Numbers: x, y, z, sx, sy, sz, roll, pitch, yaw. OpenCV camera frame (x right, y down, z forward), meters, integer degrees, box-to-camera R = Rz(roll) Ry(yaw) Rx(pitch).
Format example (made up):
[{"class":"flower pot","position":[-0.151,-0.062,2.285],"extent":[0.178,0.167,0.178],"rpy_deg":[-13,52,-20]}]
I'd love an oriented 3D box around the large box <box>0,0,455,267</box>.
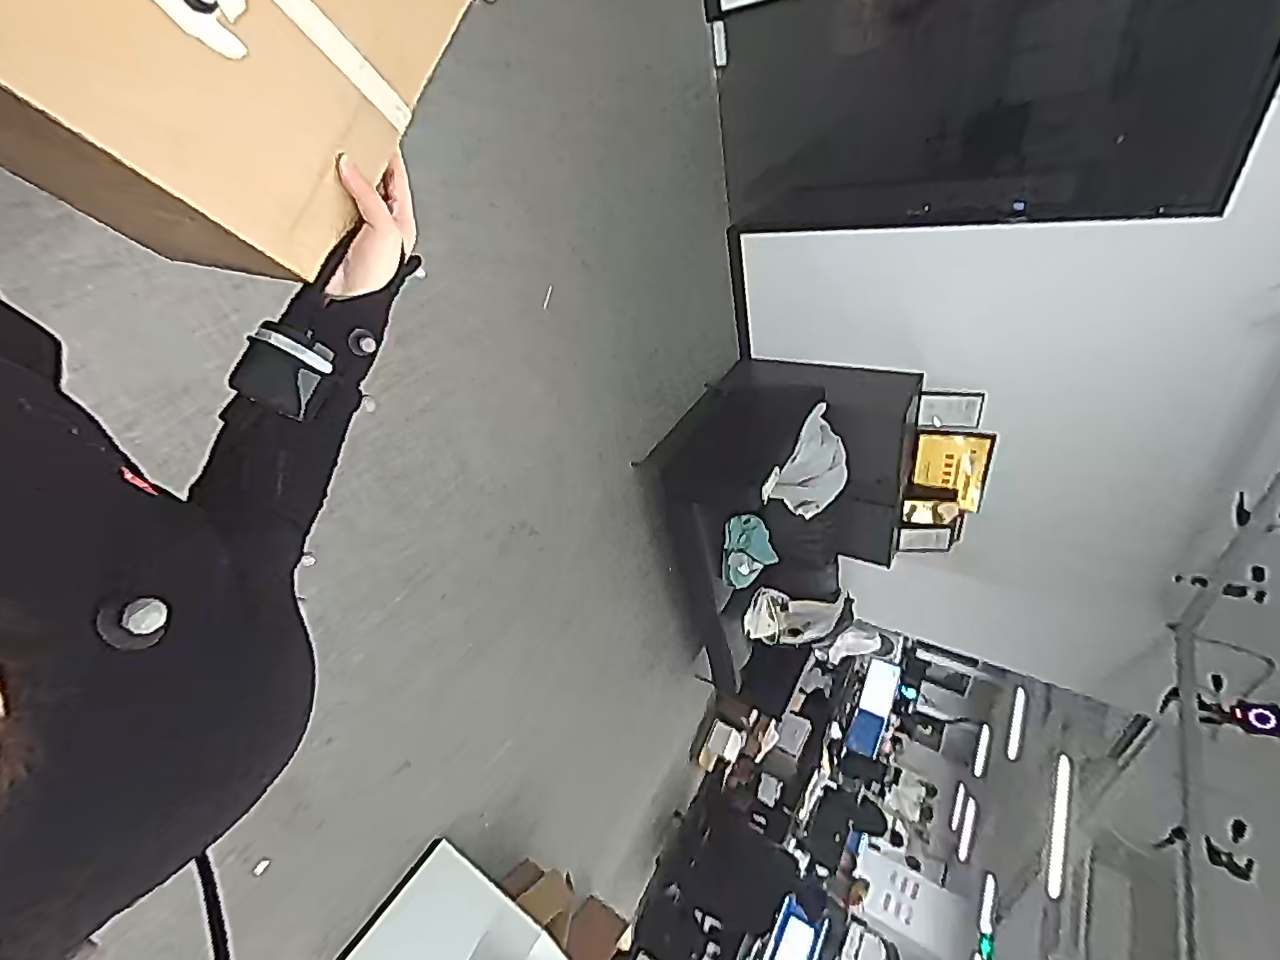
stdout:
[{"class":"large box","position":[-0.413,-0.404,0.357],"extent":[0.408,0.320,0.320],"rpy_deg":[36,75,-60]}]
